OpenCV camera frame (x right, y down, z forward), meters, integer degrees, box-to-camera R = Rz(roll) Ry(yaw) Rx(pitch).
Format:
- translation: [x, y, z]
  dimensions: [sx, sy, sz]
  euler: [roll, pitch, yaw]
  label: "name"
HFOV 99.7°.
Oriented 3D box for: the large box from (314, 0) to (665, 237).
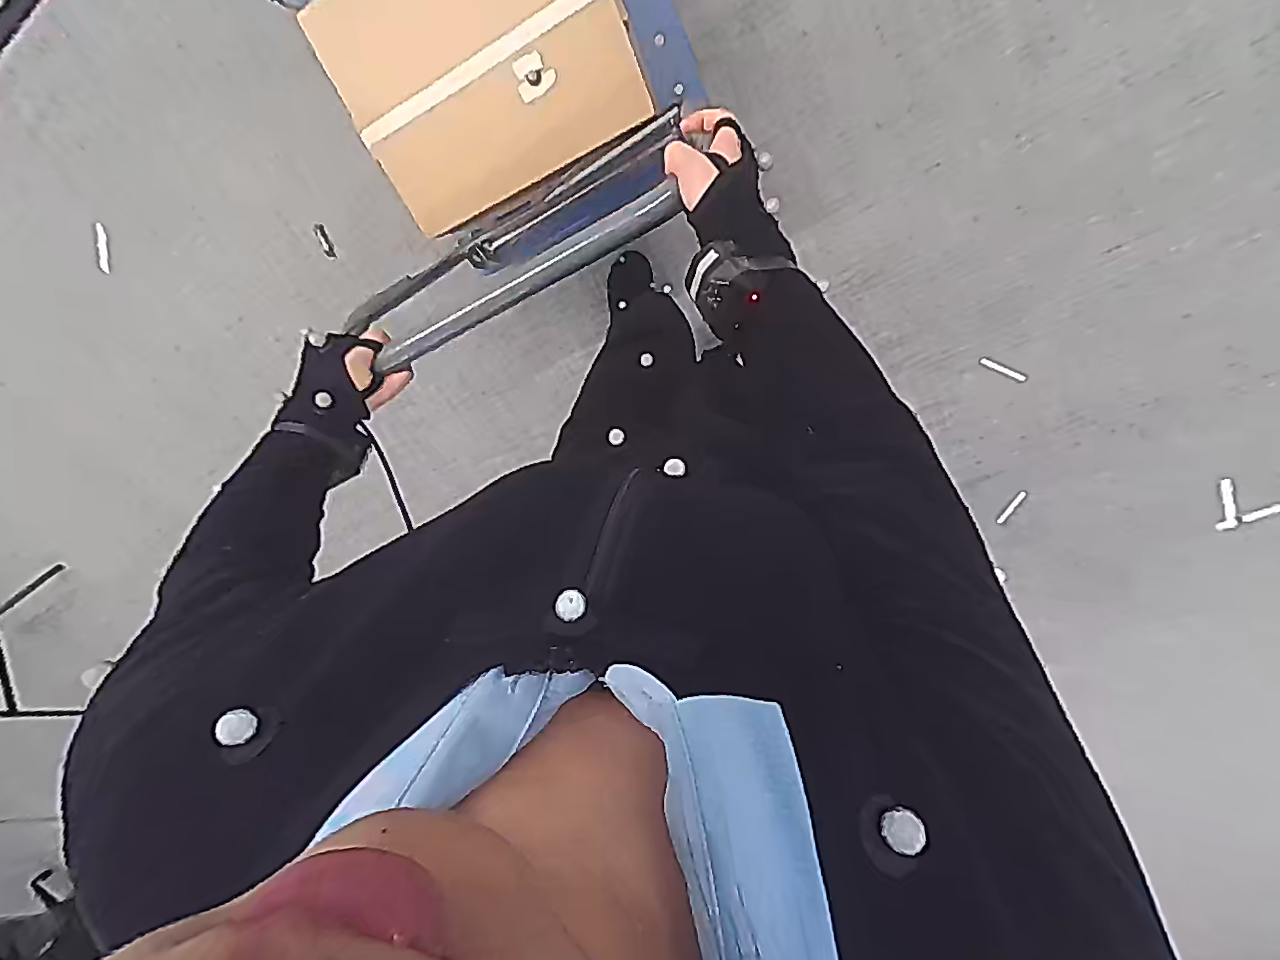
- translation: [-0.203, -0.649, 0.882]
  dimensions: [0.408, 0.320, 0.320]
  euler: [-20, 117, 15]
  label: "large box"
